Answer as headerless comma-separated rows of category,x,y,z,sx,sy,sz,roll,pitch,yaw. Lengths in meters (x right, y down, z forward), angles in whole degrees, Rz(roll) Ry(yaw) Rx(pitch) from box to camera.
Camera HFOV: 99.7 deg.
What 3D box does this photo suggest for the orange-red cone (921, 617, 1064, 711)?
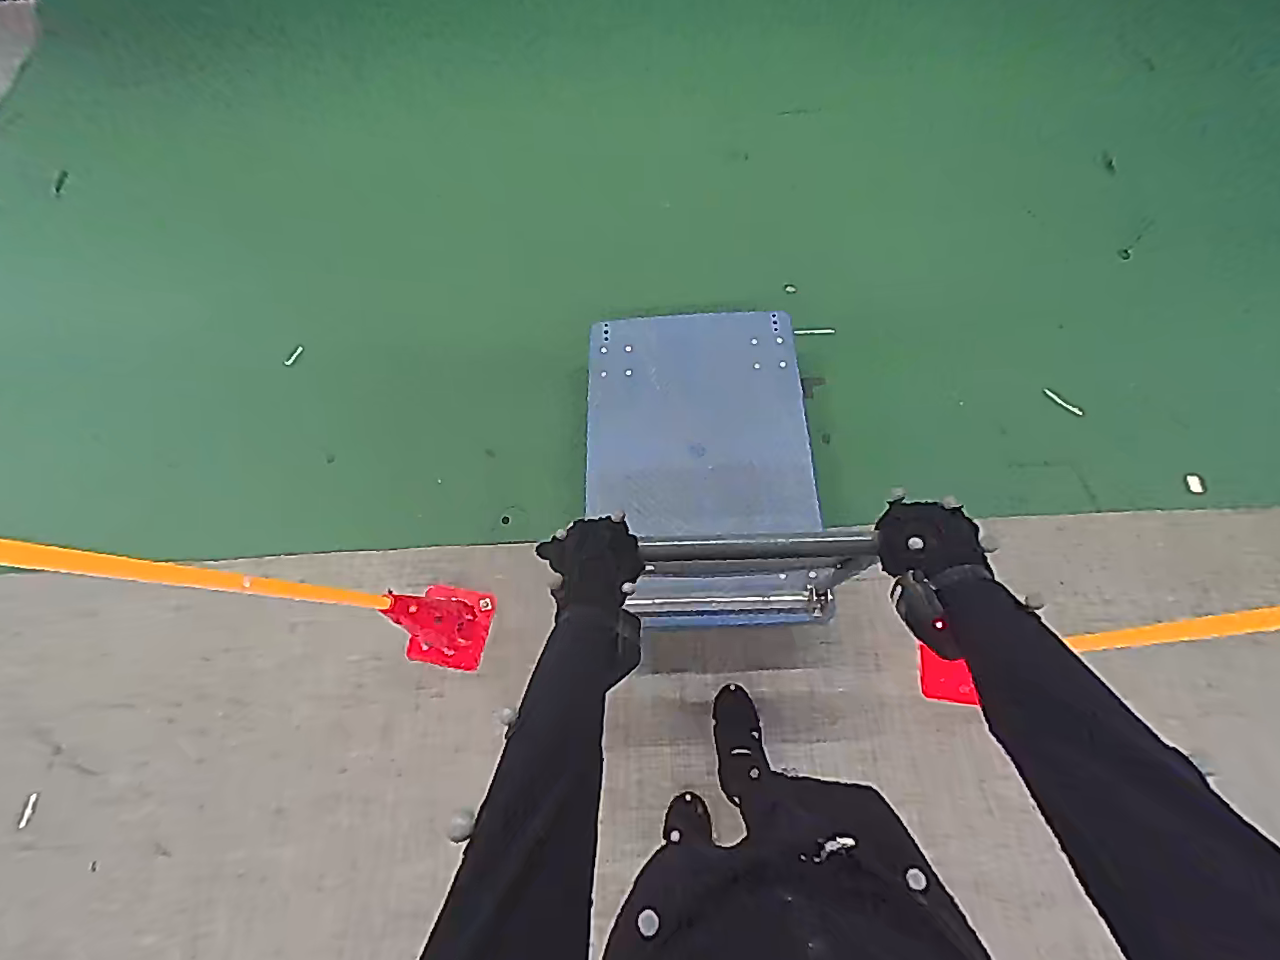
orange-red cone,0.777,0.380,1.158,0.198,0.360,0.199,7,69,7
